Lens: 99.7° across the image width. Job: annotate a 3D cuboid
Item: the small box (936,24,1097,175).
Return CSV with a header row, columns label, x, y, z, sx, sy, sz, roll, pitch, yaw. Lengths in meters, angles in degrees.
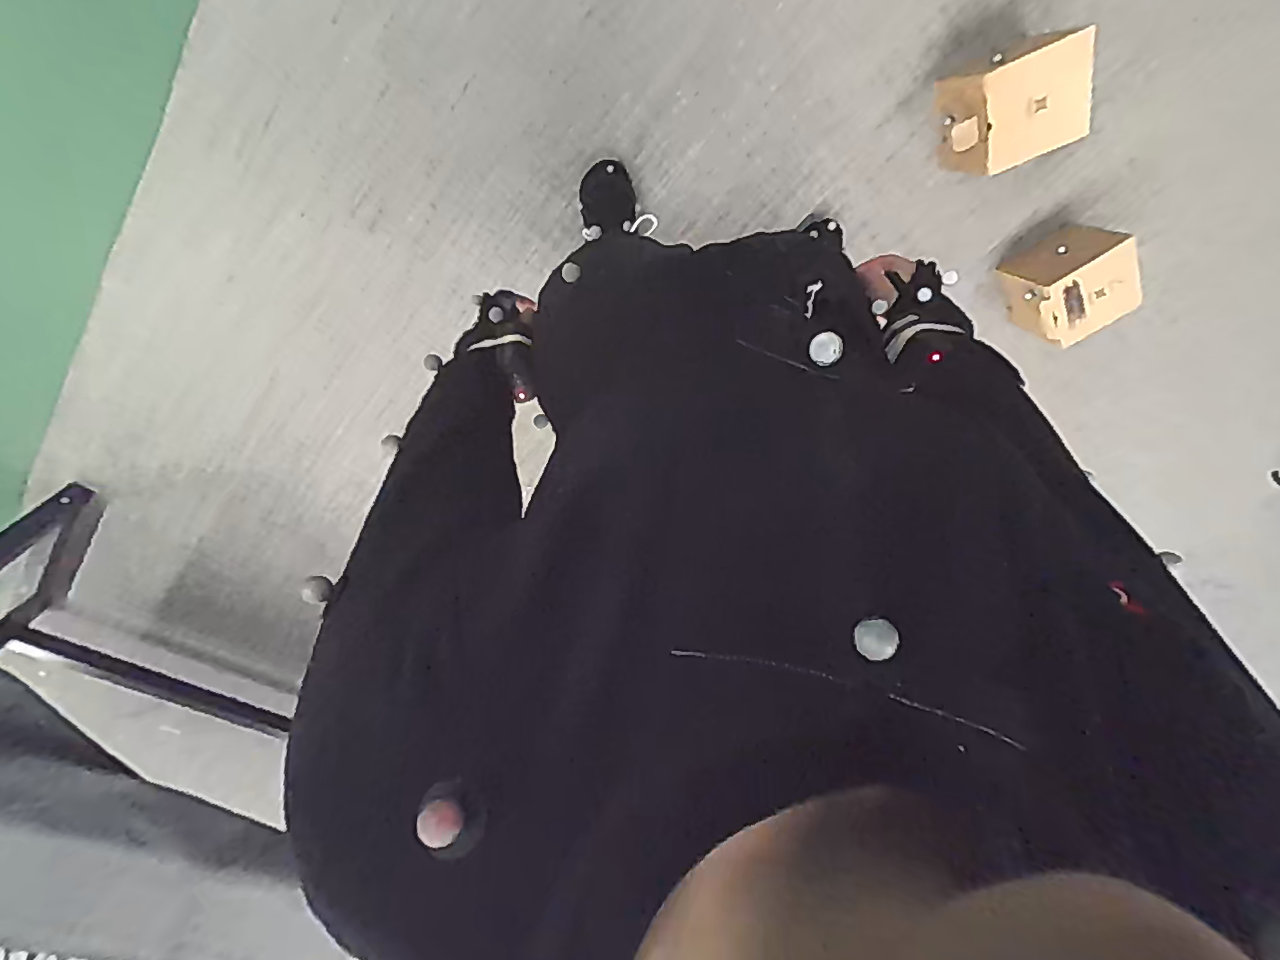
label,x,y,z,sx,sy,sz,roll,pitch,yaw
small box,0.672,-0.686,0.983,0.179,0.176,0.168,-21,123,10
